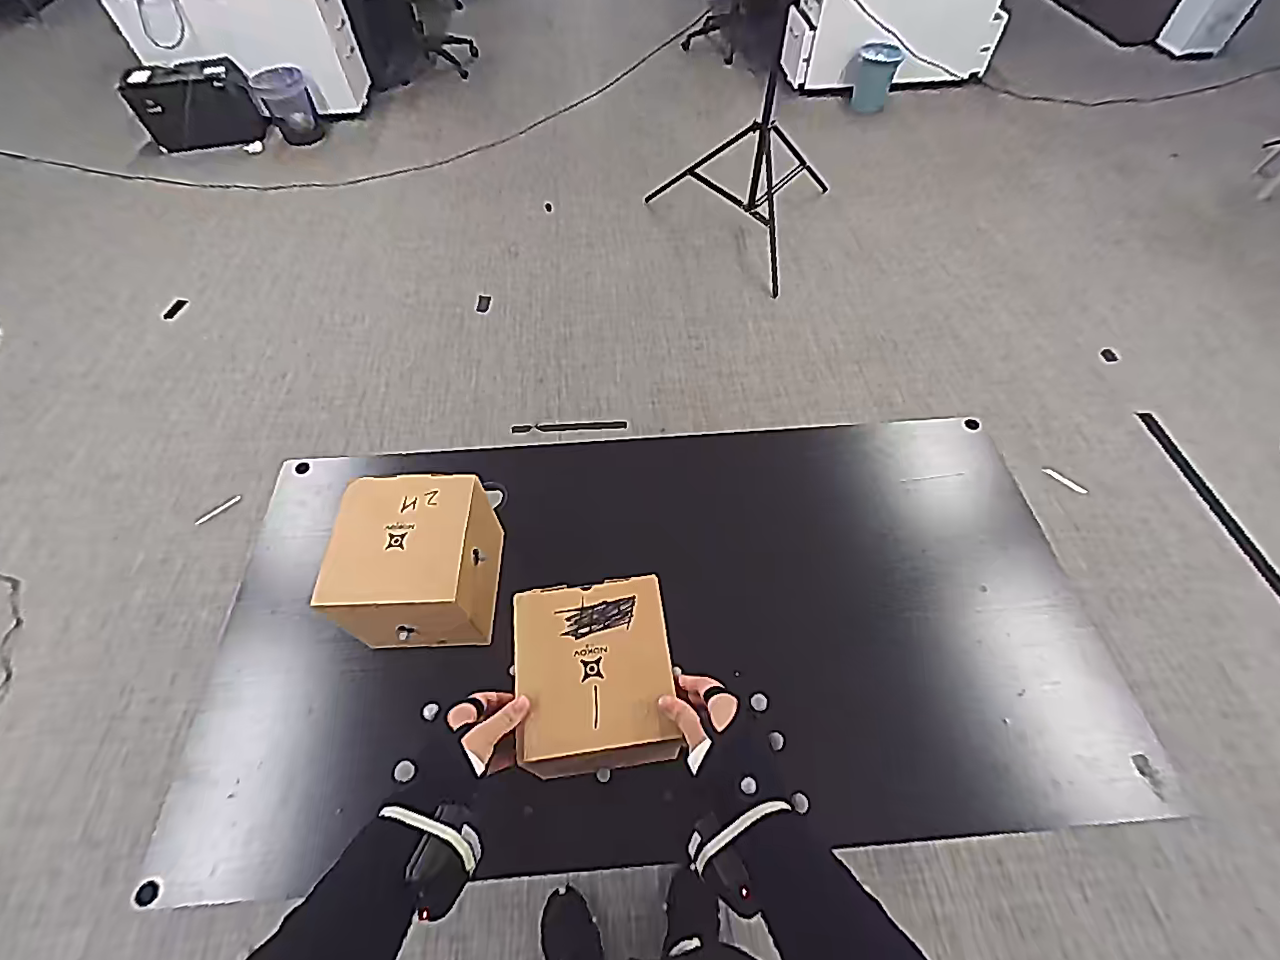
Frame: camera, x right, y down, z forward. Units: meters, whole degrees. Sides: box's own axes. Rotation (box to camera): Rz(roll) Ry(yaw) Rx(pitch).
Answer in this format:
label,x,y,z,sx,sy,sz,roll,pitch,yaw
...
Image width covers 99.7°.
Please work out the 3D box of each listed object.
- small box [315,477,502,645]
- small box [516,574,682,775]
label,x,y,z,sx,sy,sz,roll,pitch,yaw
small box,-0.290,0.116,0.725,0.168,0.176,0.179,-2,56,-1
small box,-0.049,0.233,0.641,0.168,0.176,0.179,-8,57,-3
